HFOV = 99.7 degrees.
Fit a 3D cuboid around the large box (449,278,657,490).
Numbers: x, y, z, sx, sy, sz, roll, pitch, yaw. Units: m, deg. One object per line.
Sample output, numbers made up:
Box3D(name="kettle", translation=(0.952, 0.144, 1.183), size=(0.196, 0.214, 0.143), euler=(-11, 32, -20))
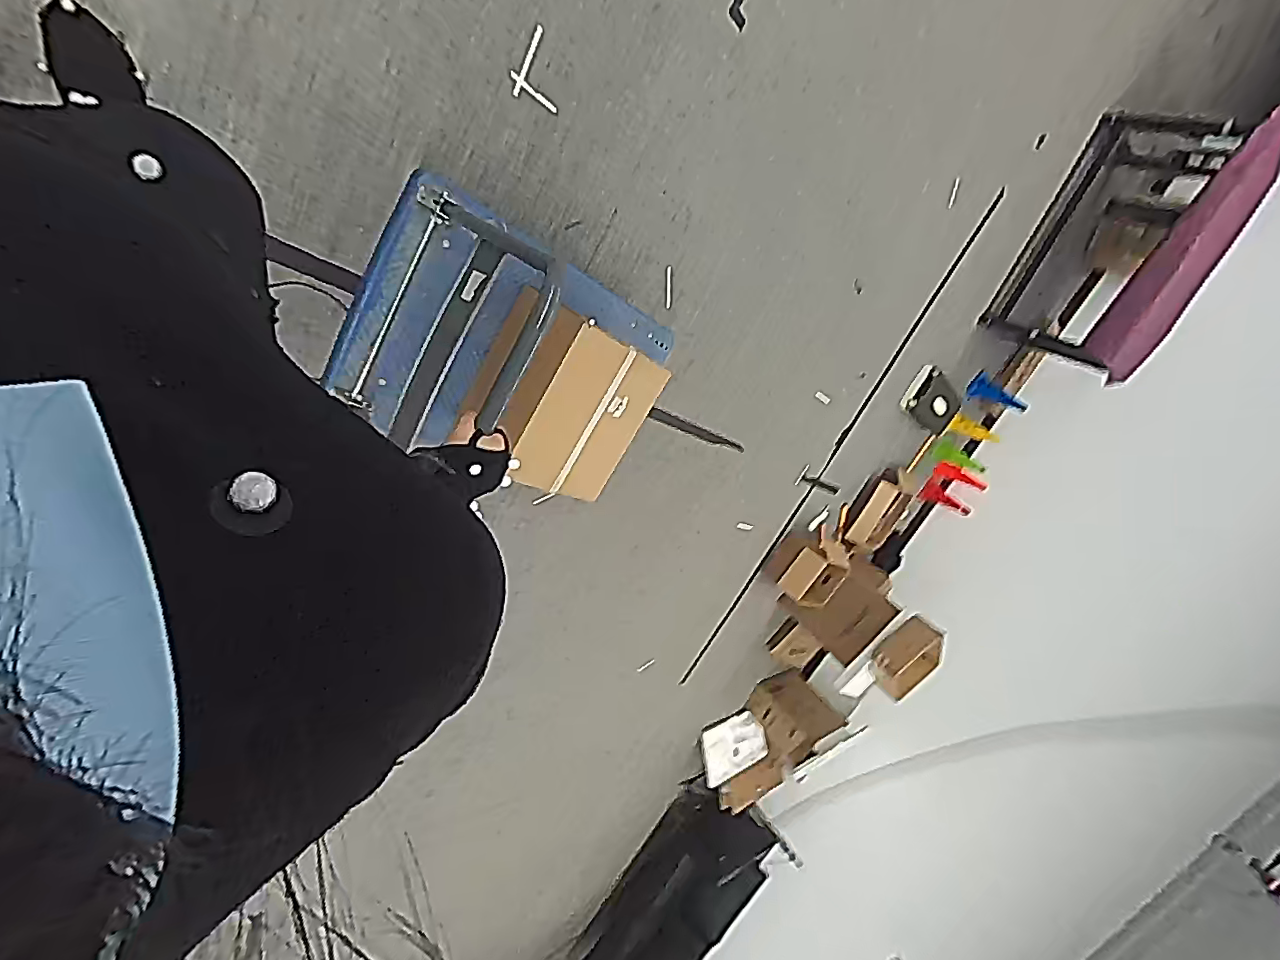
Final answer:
Box3D(name="large box", translation=(-0.236, -0.241, 1.409), size=(0.320, 0.320, 0.408), euler=(18, 107, -48))
